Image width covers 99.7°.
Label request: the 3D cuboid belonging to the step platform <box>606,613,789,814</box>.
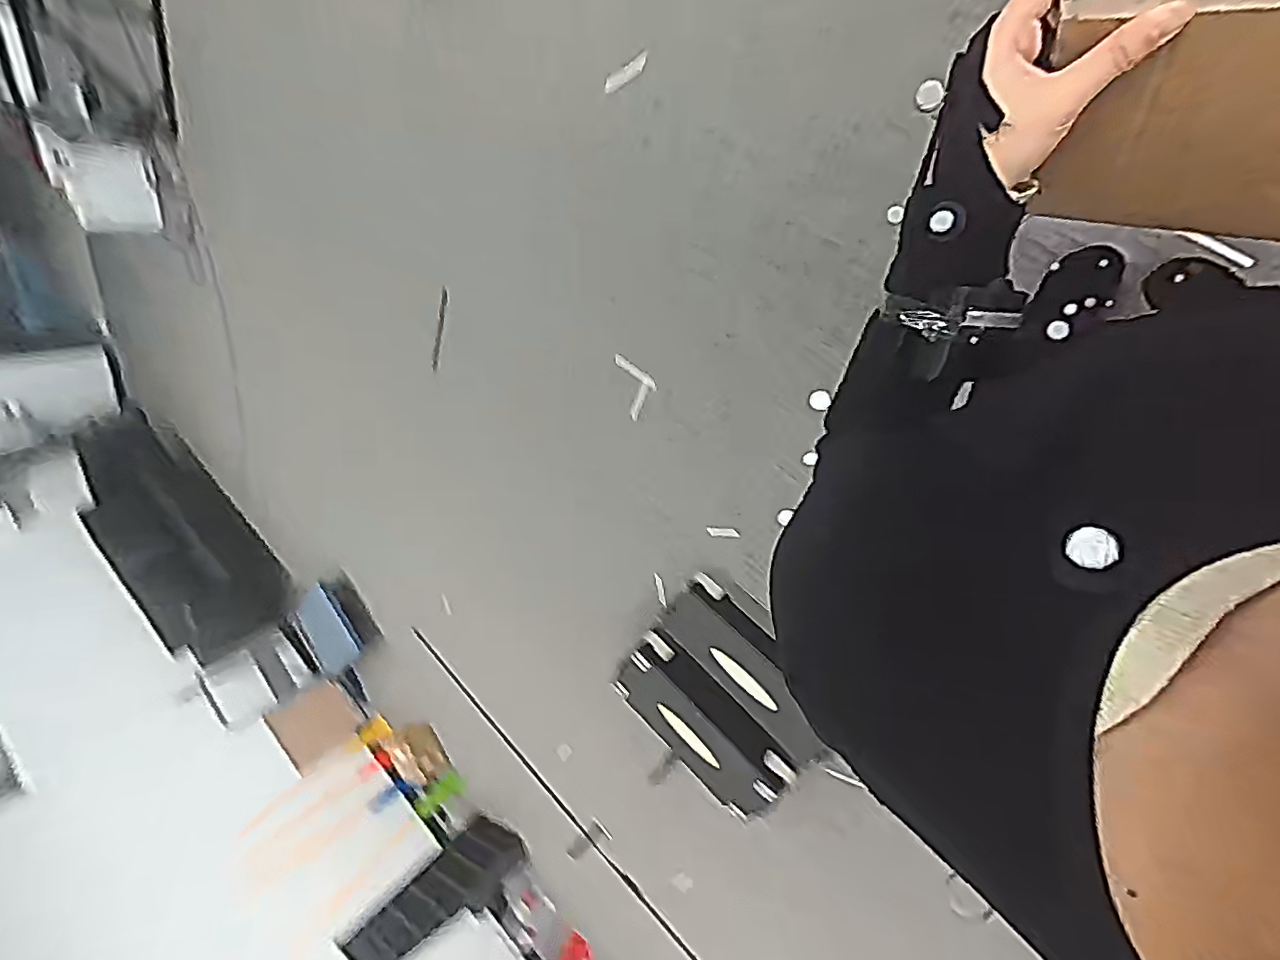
[{"bbox_3d":[0.187,0.825,1.917,0.684,0.204,0.286,47,130,14],"label":"step platform"}]
